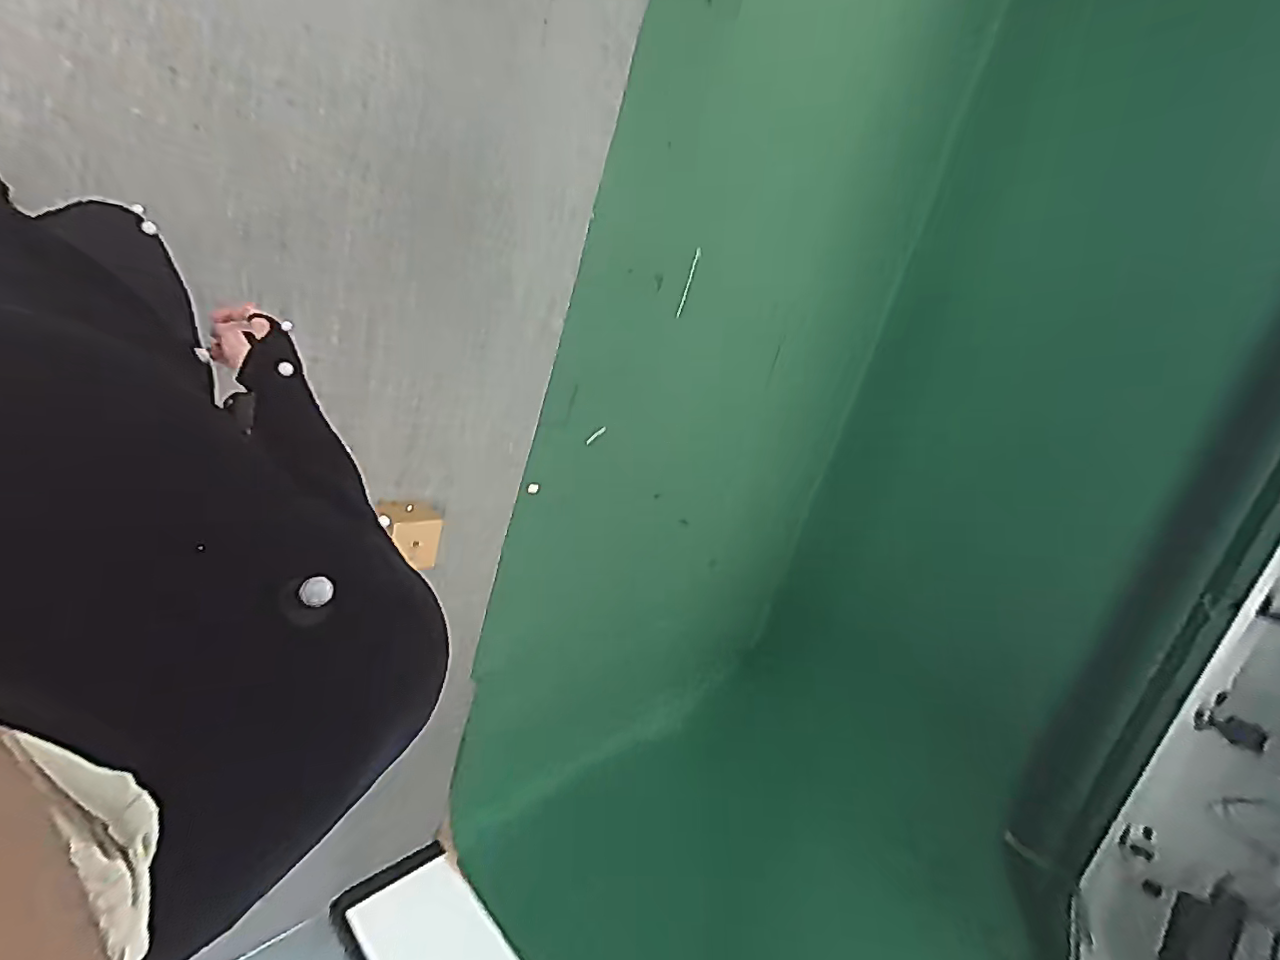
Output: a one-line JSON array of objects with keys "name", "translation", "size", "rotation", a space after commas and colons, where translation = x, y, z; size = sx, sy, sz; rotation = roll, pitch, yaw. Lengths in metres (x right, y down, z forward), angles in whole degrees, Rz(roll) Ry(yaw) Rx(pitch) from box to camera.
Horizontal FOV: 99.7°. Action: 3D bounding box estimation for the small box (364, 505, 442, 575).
[{"name": "small box", "translation": [-0.778, 0.186, 1.767], "size": [0.168, 0.176, 0.179], "rotation": [1, 111, -50]}]
